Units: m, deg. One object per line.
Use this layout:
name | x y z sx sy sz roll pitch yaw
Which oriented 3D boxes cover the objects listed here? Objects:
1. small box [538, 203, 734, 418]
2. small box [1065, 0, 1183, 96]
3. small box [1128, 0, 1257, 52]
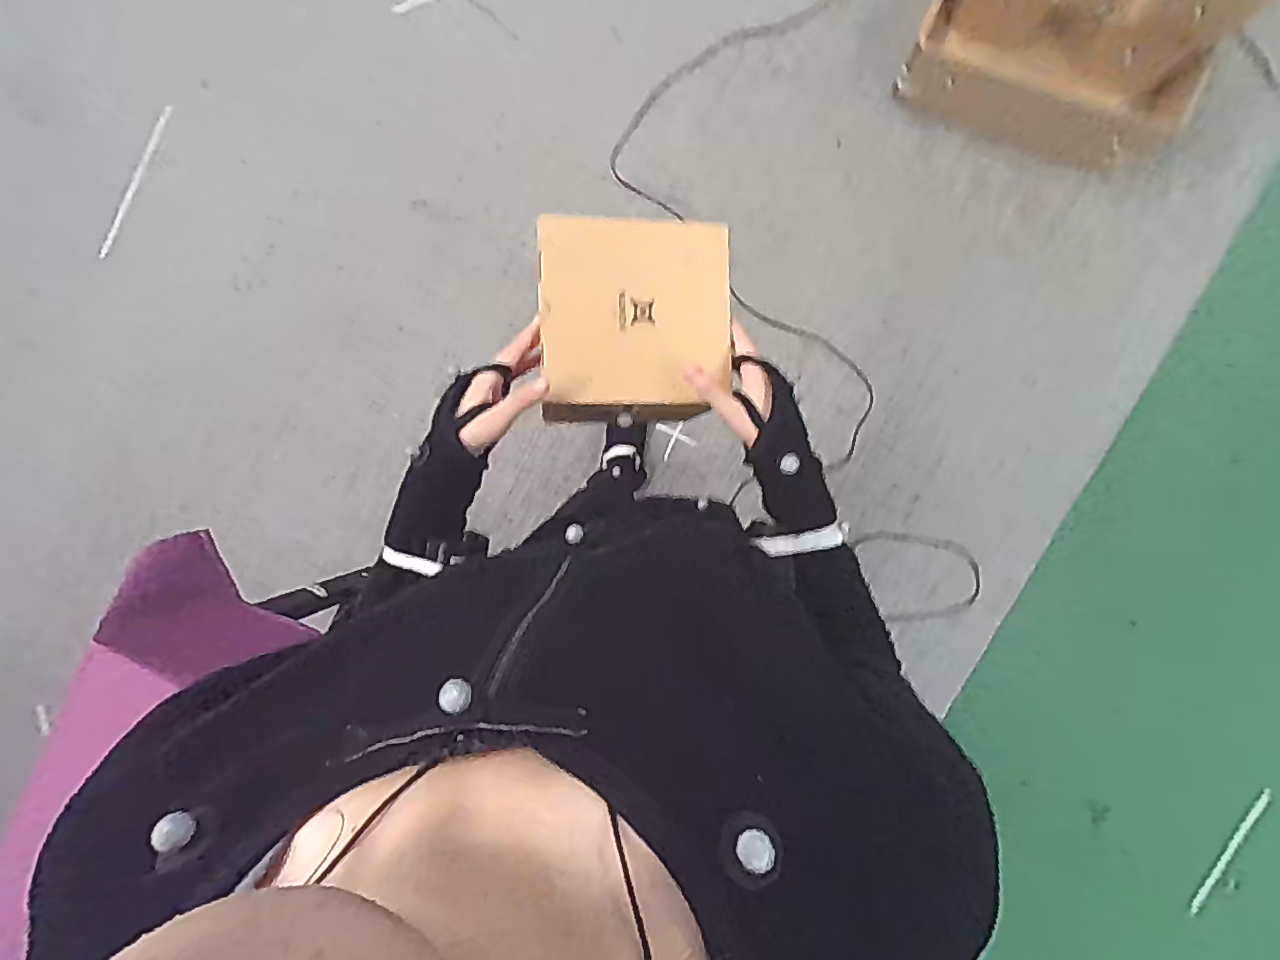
small box | -0.014 -0.156 0.555 0.179 0.176 0.168 0 90 -10
small box | 1.145 -1.039 1.249 0.179 0.176 0.168 25 95 3
small box | 1.147 -1.022 1.084 0.168 0.176 0.179 25 94 1
